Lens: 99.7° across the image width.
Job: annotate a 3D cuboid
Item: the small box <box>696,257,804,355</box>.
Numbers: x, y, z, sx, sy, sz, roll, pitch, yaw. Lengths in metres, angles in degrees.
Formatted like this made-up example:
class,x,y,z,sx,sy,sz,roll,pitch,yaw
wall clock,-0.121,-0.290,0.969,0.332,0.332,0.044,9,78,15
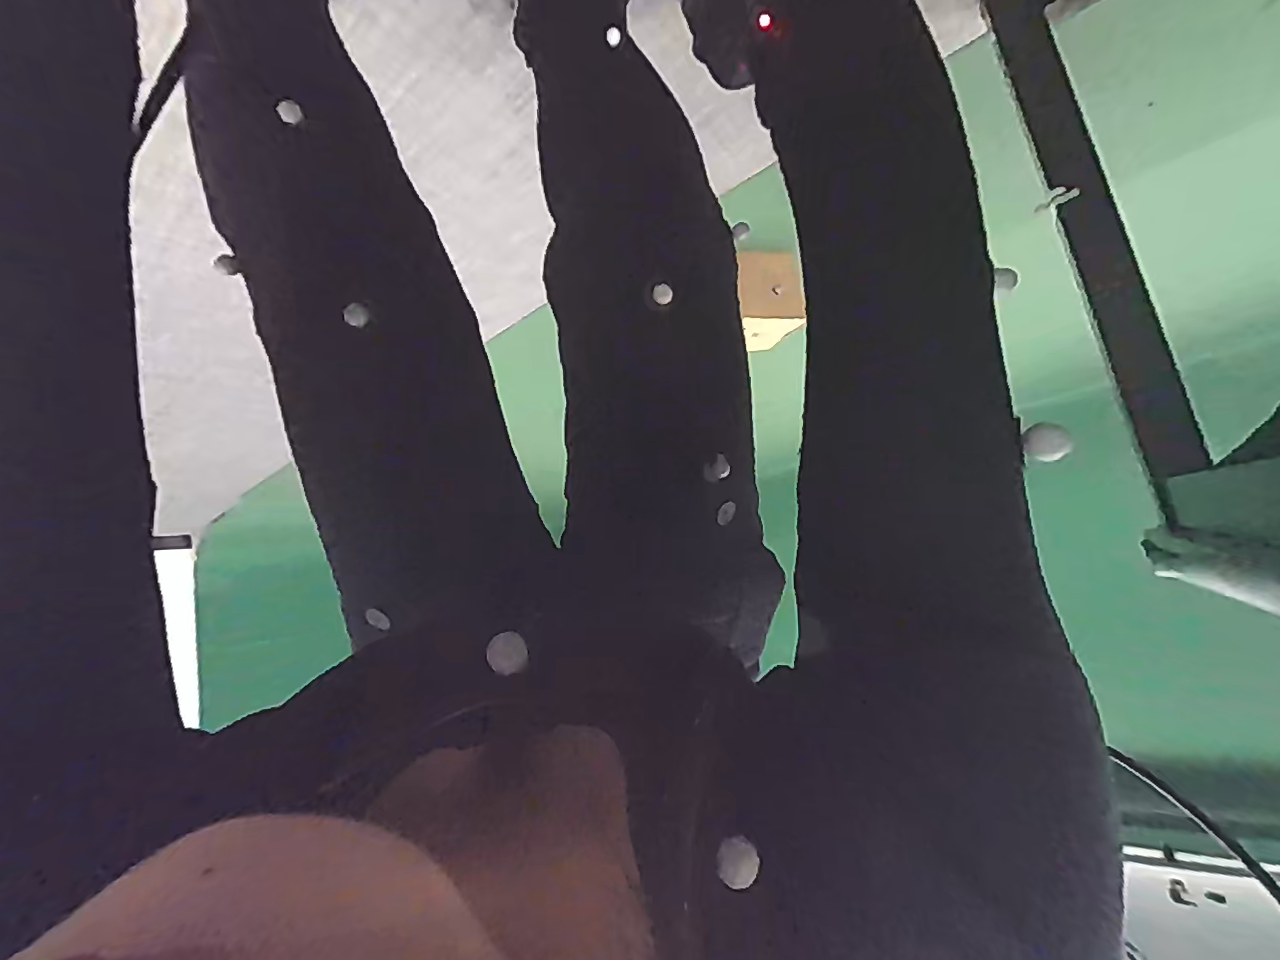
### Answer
class,x,y,z,sx,sy,sz,roll,pitch,yaw
small box,0.257,-0.412,1.294,0.179,0.176,0.168,-7,170,-22
